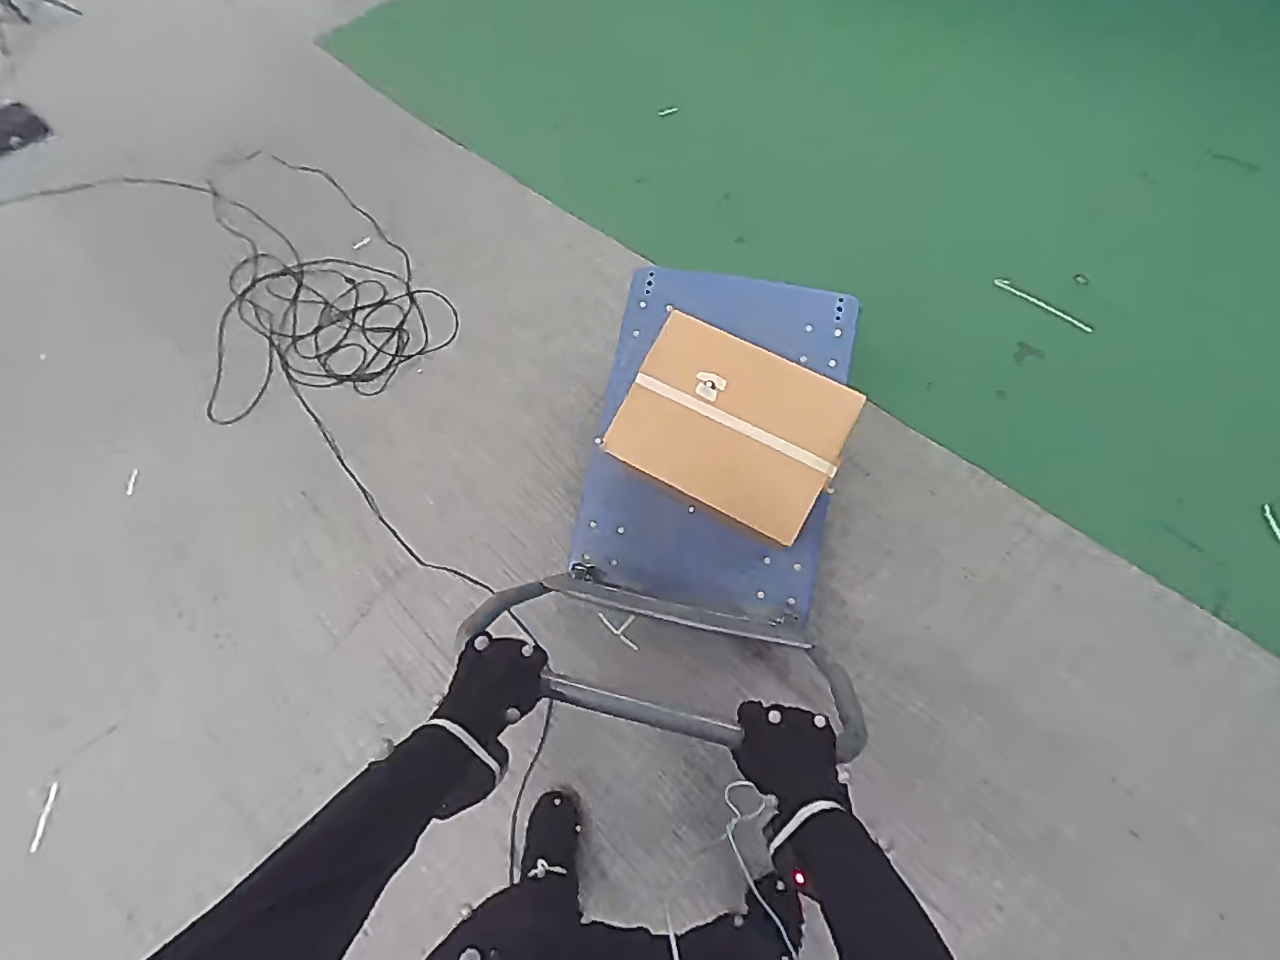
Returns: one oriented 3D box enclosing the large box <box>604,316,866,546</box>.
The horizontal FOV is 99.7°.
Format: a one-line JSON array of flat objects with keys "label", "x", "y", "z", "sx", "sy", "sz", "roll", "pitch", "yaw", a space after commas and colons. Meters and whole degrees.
[{"label": "large box", "x": 0.195, "y": -0.082, "z": 1.154, "sx": 0.408, "sy": 0.320, "sz": 0.320, "roll": 28, "pitch": 86, "yaw": 12}]
